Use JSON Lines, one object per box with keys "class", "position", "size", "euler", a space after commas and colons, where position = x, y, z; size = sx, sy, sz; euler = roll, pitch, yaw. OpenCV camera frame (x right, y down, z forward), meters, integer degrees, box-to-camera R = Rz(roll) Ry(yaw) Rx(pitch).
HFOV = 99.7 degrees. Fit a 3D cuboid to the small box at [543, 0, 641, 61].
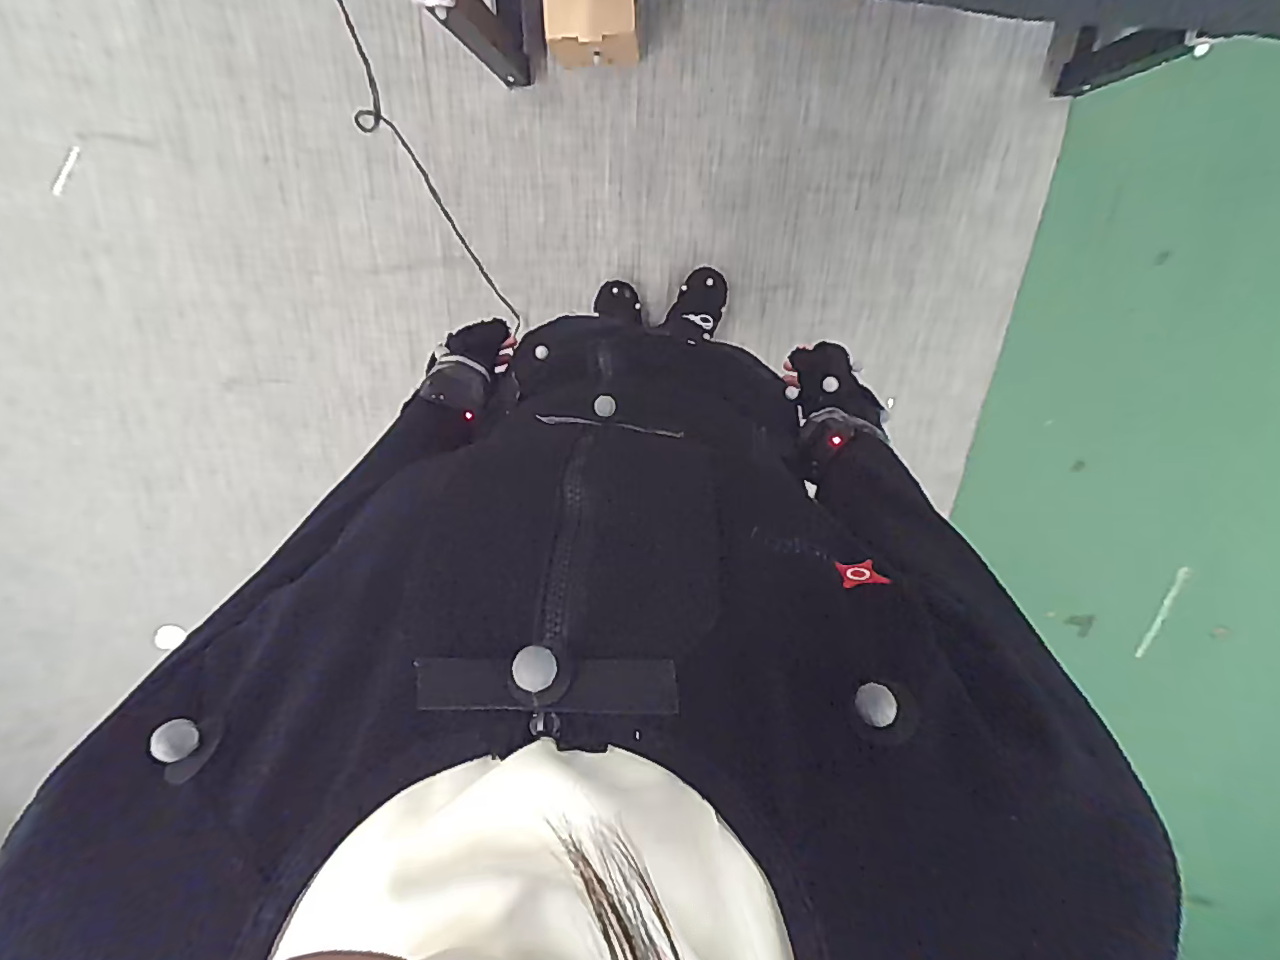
{"class": "small box", "position": [-0.086, -0.913, 1.015], "size": [0.168, 0.176, 0.179], "euler": [0, 114, 4]}
